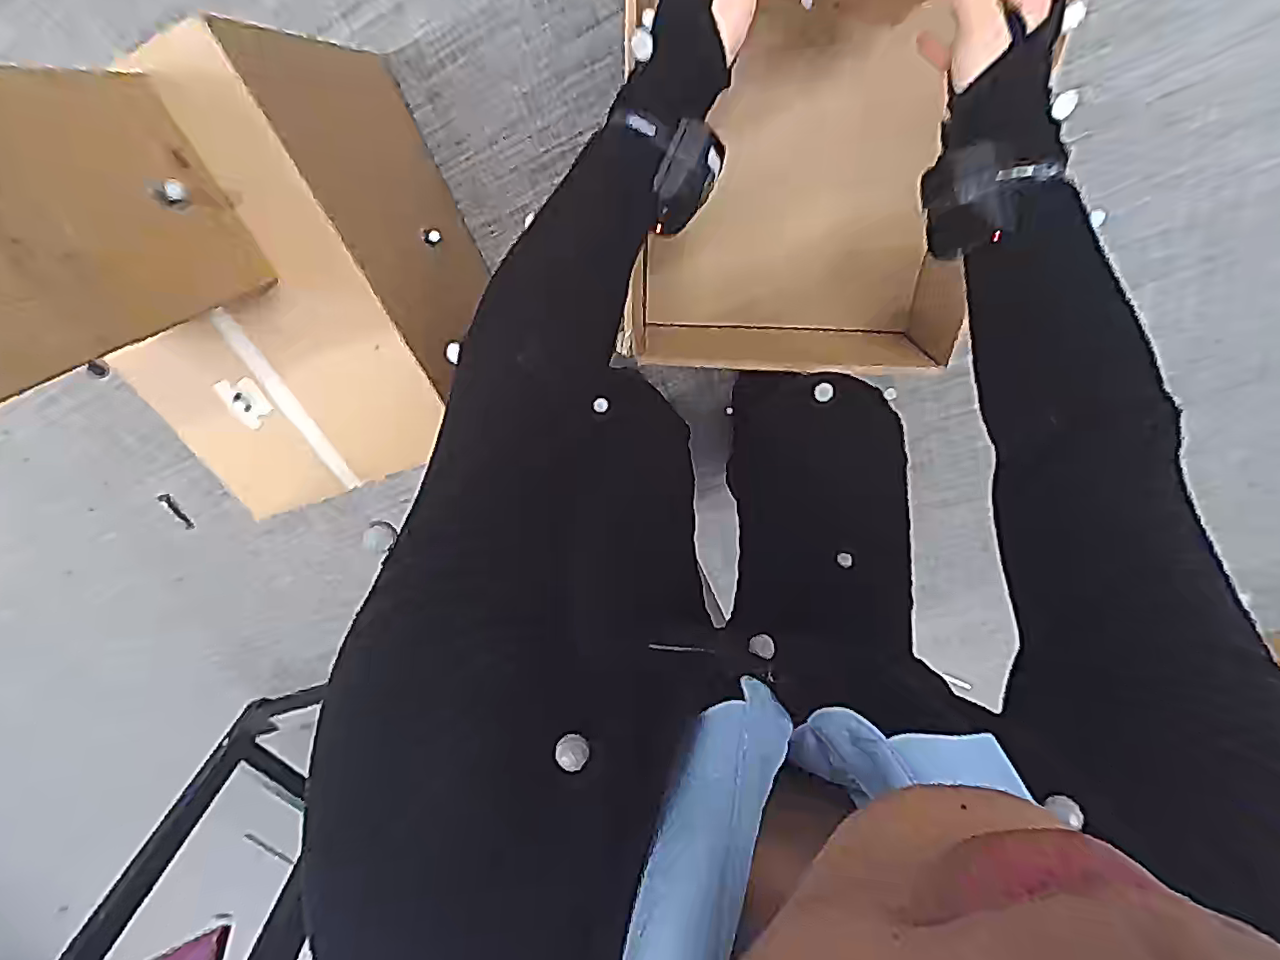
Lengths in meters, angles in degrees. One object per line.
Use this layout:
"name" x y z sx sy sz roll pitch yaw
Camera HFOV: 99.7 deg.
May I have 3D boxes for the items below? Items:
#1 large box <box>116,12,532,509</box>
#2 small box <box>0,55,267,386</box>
"large box" -0.385 -0.242 0.664 0.320 0.320 0.408 -16 122 15
"small box" -0.443 -0.188 0.407 0.179 0.176 0.168 -14 123 12
